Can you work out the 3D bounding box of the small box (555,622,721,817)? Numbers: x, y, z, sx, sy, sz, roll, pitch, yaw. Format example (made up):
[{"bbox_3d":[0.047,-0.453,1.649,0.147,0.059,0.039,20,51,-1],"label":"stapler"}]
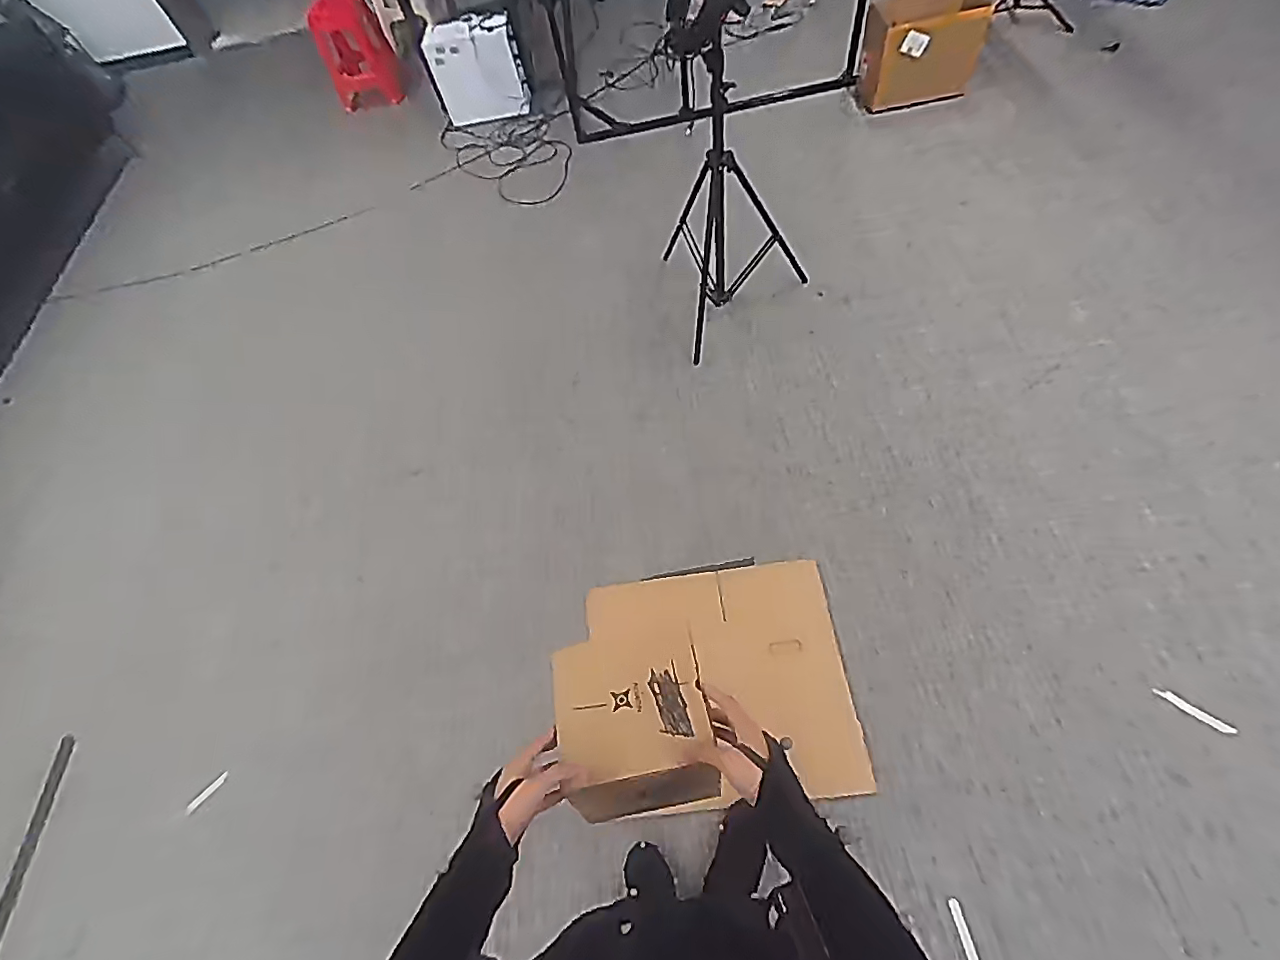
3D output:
[{"bbox_3d":[-0.002,0.306,0.686,0.179,0.176,0.168,-11,47,-1],"label":"small box"}]
